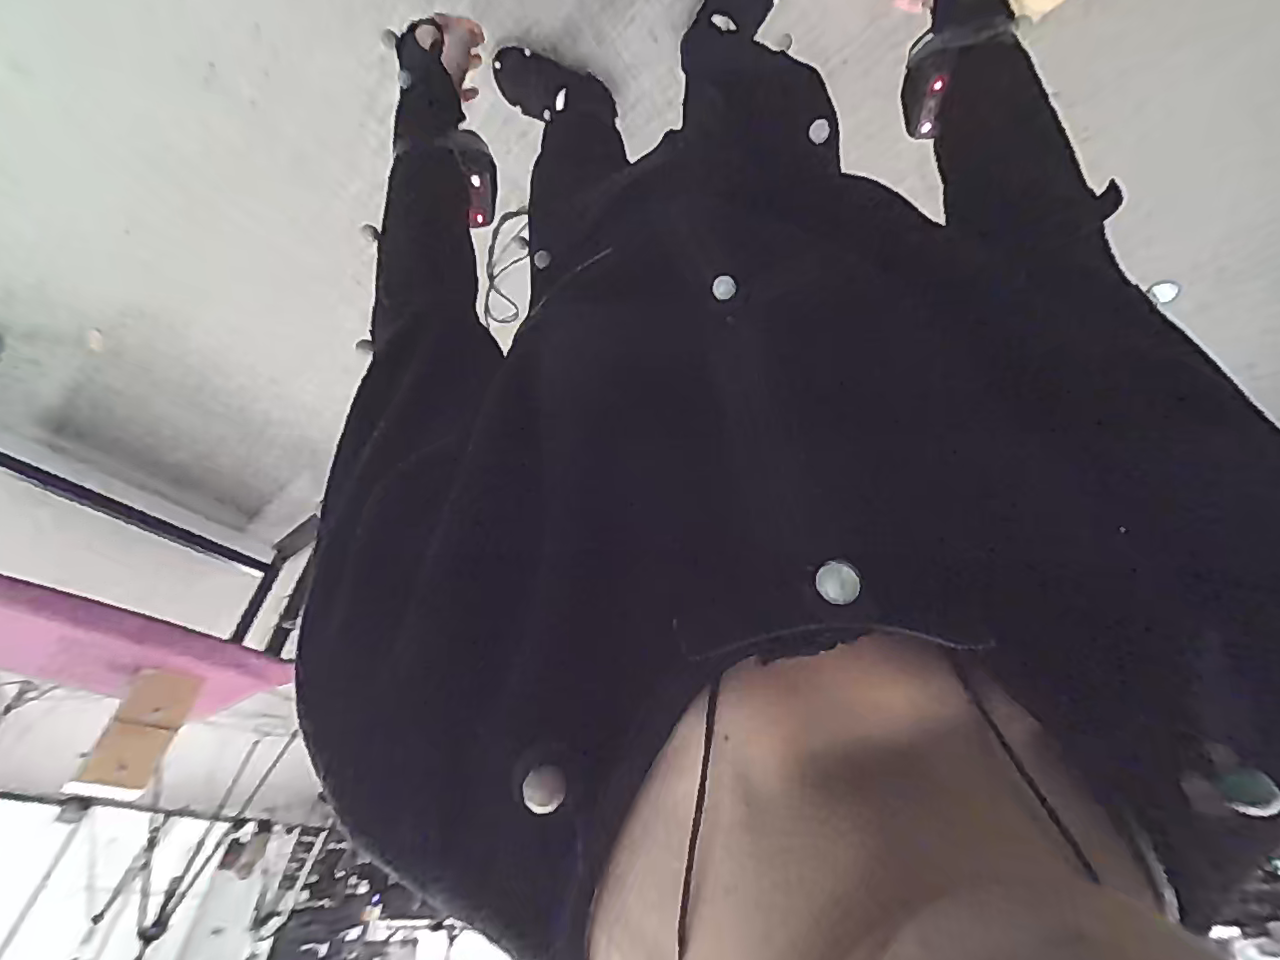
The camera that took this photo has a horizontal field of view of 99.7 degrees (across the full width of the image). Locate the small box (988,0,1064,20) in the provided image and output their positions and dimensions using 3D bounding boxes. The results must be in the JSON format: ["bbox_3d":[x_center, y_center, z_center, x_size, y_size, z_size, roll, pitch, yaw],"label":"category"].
[{"bbox_3d":[0.399,-0.590,0.498,0.179,0.176,0.168,-31,129,31],"label":"small box"}]

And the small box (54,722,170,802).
[{"bbox_3d":[-1.543,0.823,1.586,0.179,0.176,0.168,33,129,-32],"label":"small box"}]

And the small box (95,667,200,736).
[{"bbox_3d":[-1.540,0.706,1.698,0.168,0.176,0.179,-32,129,31],"label":"small box"}]
